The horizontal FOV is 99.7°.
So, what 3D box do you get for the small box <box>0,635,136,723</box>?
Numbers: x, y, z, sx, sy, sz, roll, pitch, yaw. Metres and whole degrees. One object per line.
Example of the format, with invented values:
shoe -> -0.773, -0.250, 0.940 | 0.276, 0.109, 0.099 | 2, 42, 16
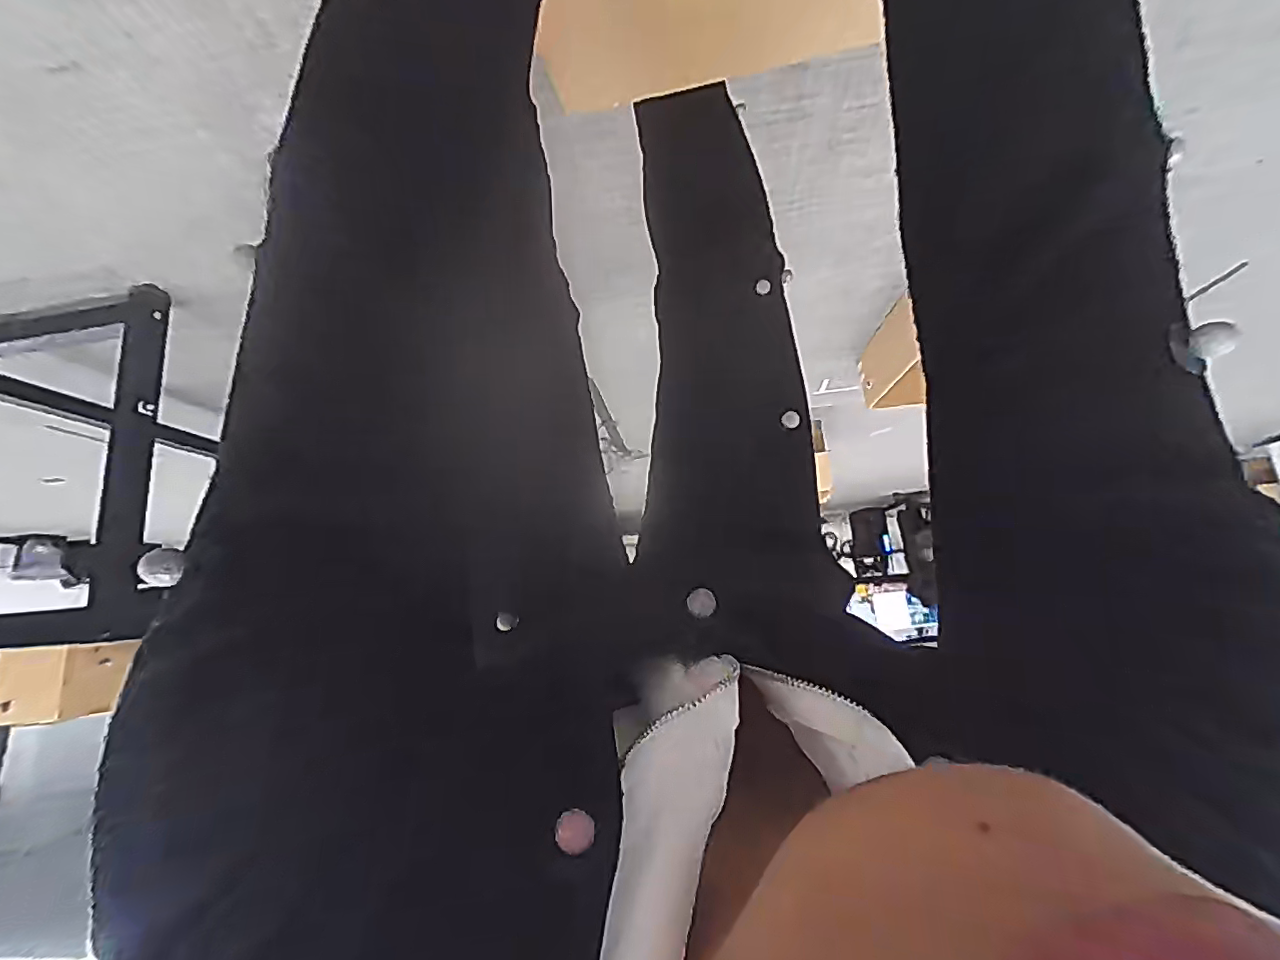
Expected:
small box -> -1.321, 0.452, 1.250 | 0.179, 0.176, 0.168 | -6, 168, 5
